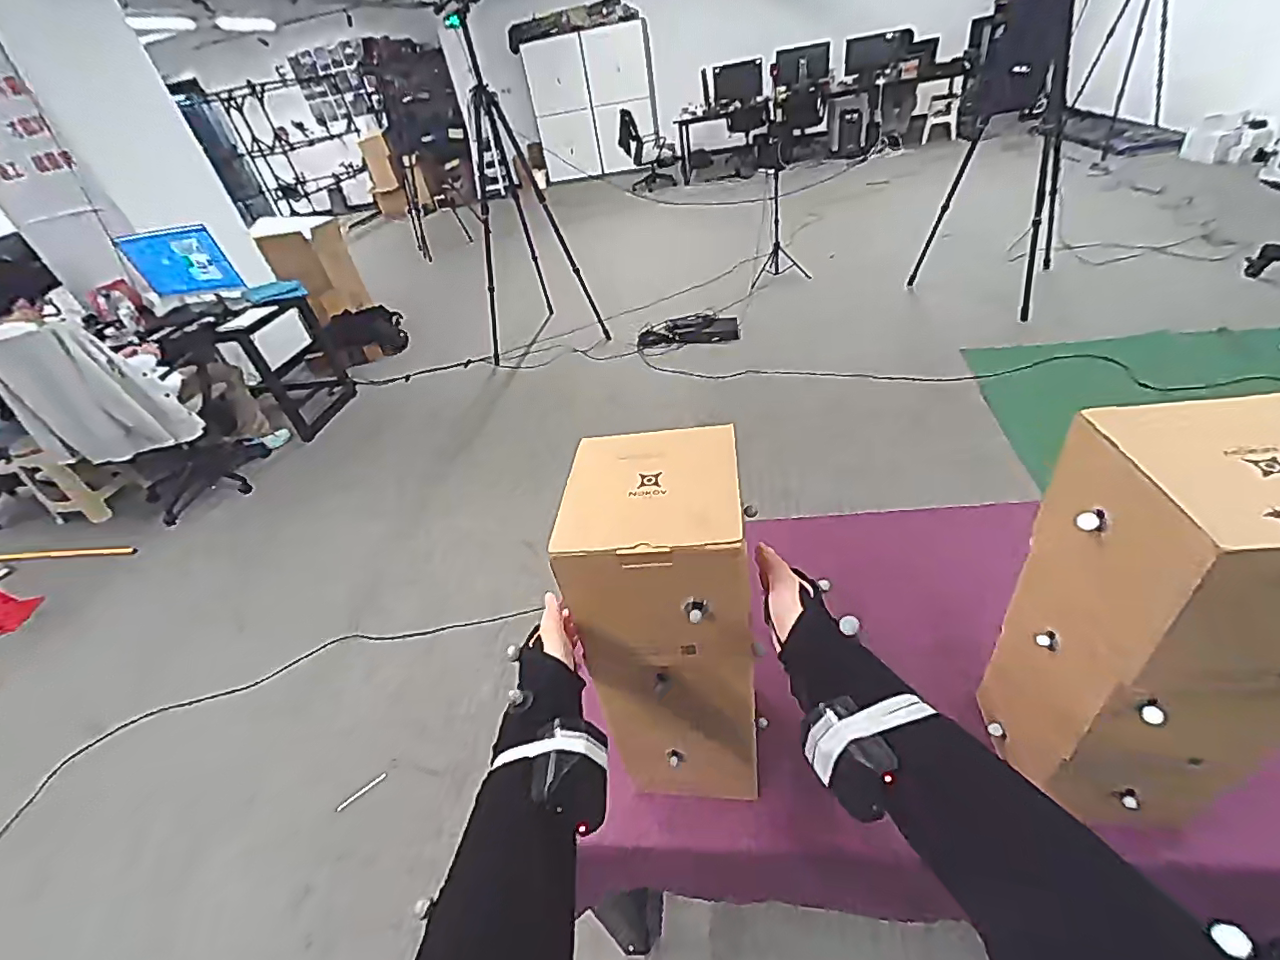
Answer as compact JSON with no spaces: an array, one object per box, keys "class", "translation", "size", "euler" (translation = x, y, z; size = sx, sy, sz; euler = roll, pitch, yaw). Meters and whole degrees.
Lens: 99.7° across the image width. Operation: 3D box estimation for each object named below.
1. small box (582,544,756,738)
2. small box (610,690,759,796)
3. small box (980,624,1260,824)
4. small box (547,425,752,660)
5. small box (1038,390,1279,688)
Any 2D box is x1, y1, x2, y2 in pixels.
[{"class":"small box","translation":[0.048,0.191,0.652],"size":[0.179,0.176,0.168],"euler":[-4,38,13]},{"class":"small box","translation":[0.071,0.318,0.753],"size":[0.179,0.176,0.168],"euler":[-3,39,12]},{"class":"small box","translation":[0.547,0.292,0.653],"size":[0.179,0.176,0.168],"euler":[-4,38,12]},{"class":"small box","translation":[0.023,0.067,0.550],"size":[0.168,0.176,0.179],"euler":[-5,38,10]},{"class":"small box","translation":[0.471,0.047,0.445],"size":[0.168,0.176,0.179],"euler":[-6,37,10]}]
